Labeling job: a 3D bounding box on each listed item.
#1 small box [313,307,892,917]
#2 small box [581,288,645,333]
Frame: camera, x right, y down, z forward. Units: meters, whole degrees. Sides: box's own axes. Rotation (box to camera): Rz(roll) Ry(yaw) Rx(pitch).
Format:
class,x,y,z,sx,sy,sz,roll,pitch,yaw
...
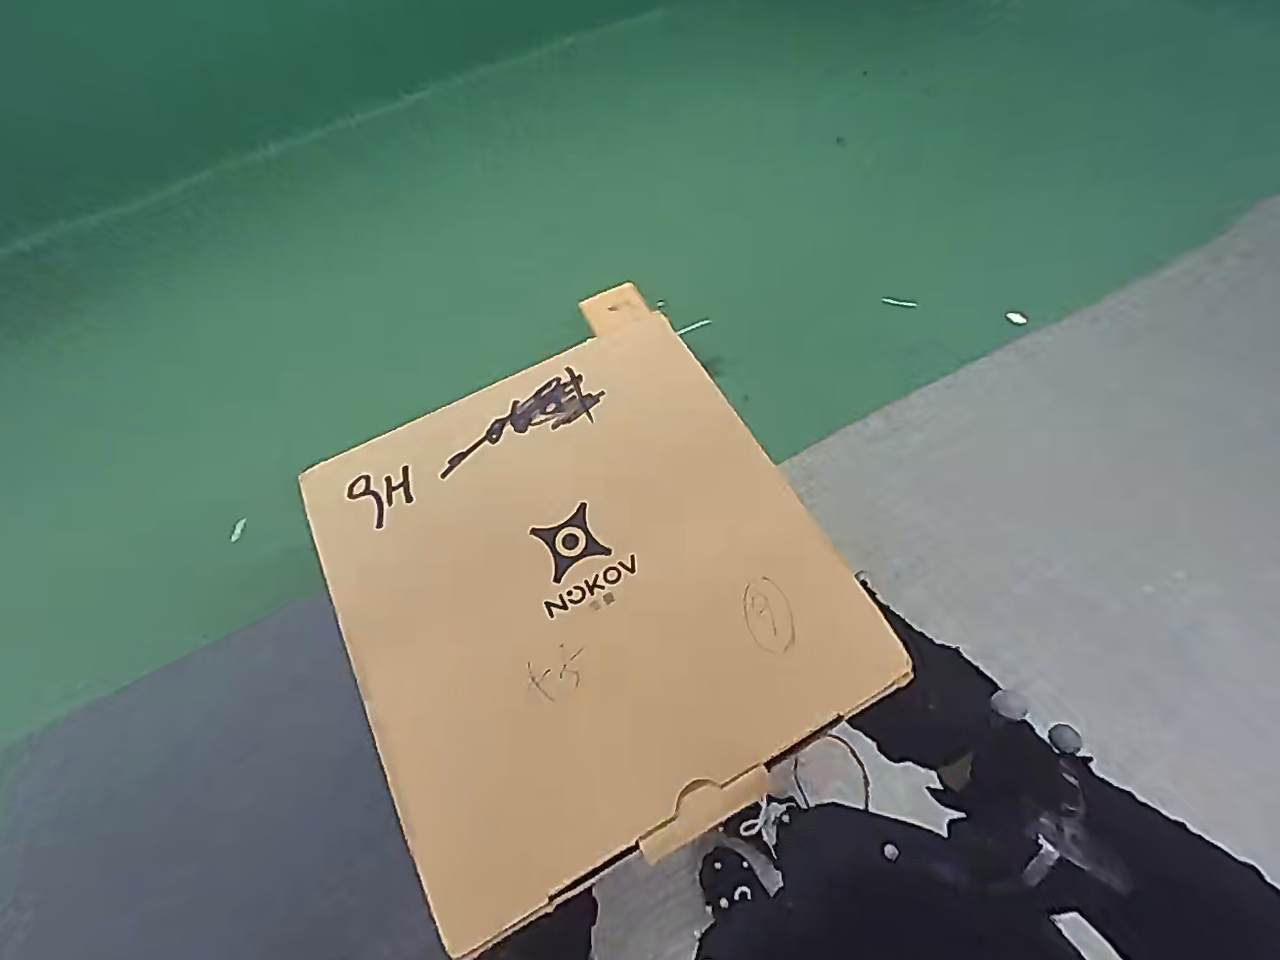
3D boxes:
class,x,y,z,sx,sy,sz,roll,pitch,yaw
small box,-0.020,0.056,0.273,0.168,0.176,0.179,-25,68,-9
small box,-0.064,-0.463,1.704,0.179,0.176,0.168,-23,59,-6
